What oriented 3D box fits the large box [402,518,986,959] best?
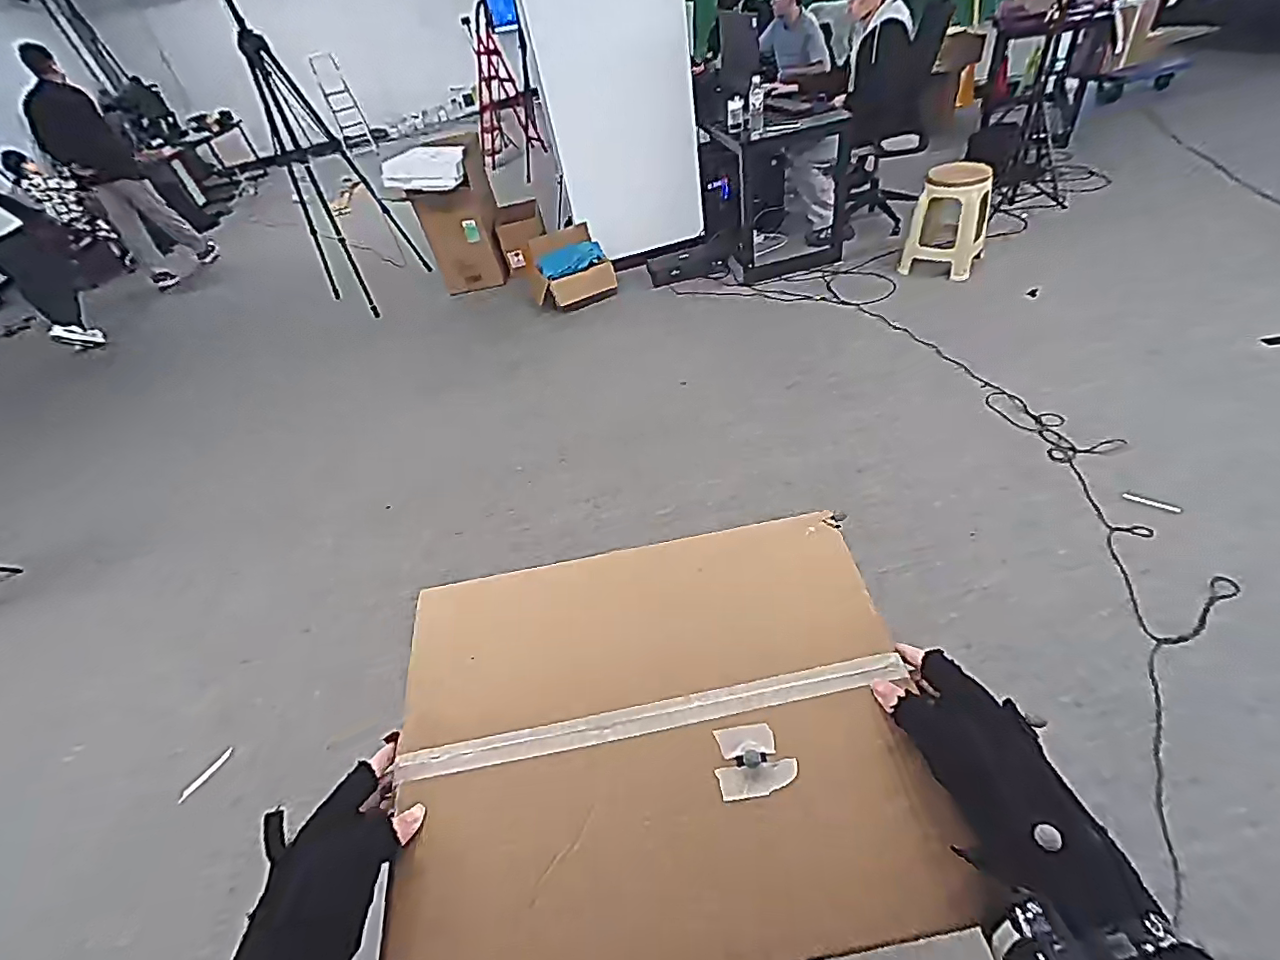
[{"bbox_3d":[0.028,0.285,0.559,0.408,0.320,0.320,-11,52,-1],"label":"large box"}]
